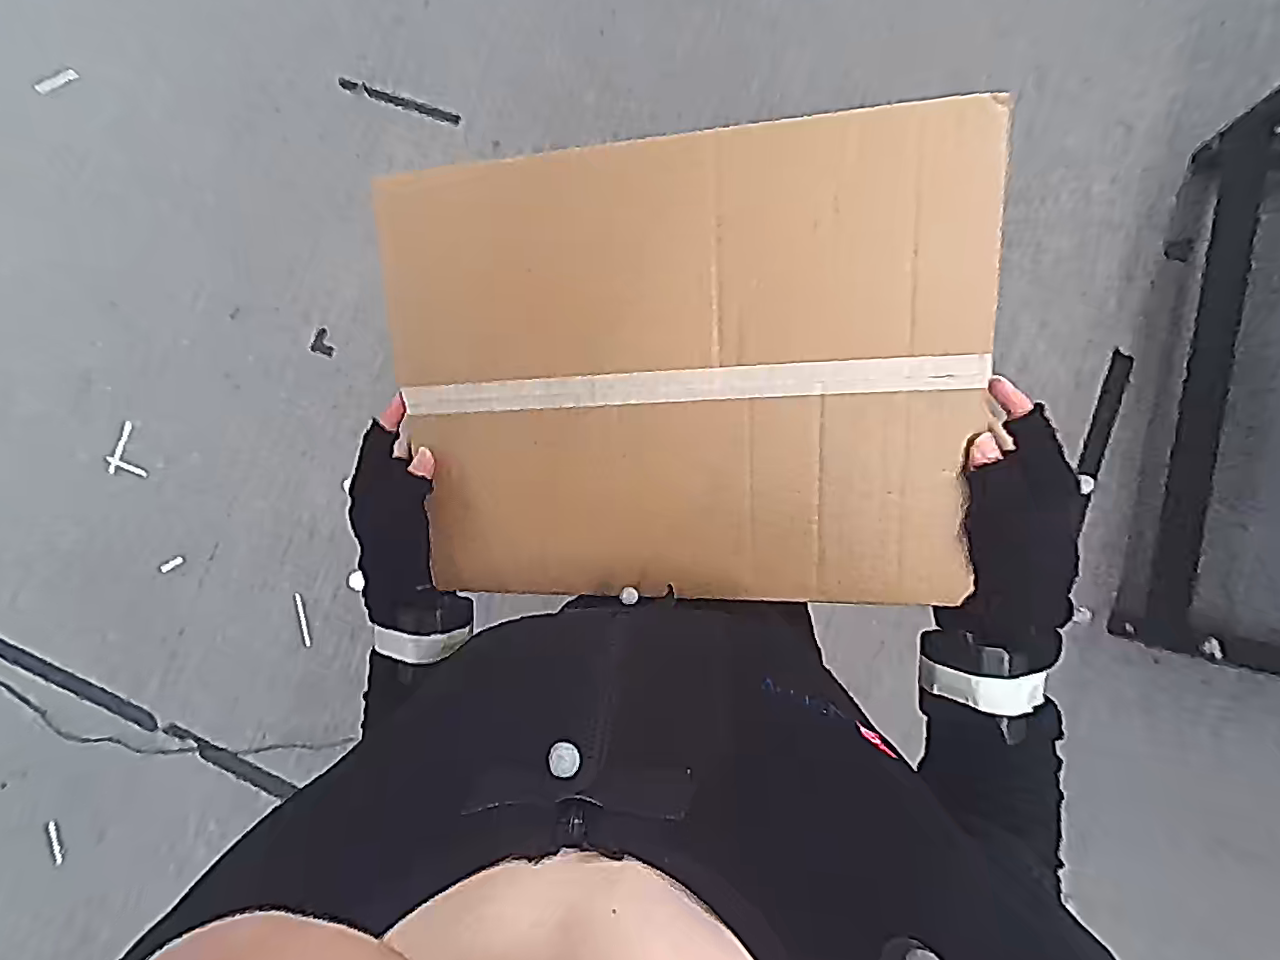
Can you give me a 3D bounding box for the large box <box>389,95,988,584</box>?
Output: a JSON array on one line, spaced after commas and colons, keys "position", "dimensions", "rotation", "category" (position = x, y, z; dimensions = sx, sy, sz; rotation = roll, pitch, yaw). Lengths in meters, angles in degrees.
[{"position": [0.046, -0.102, 0.527], "dimensions": [0.408, 0.320, 0.320], "rotation": [-1, 103, 11], "category": "large box"}]
